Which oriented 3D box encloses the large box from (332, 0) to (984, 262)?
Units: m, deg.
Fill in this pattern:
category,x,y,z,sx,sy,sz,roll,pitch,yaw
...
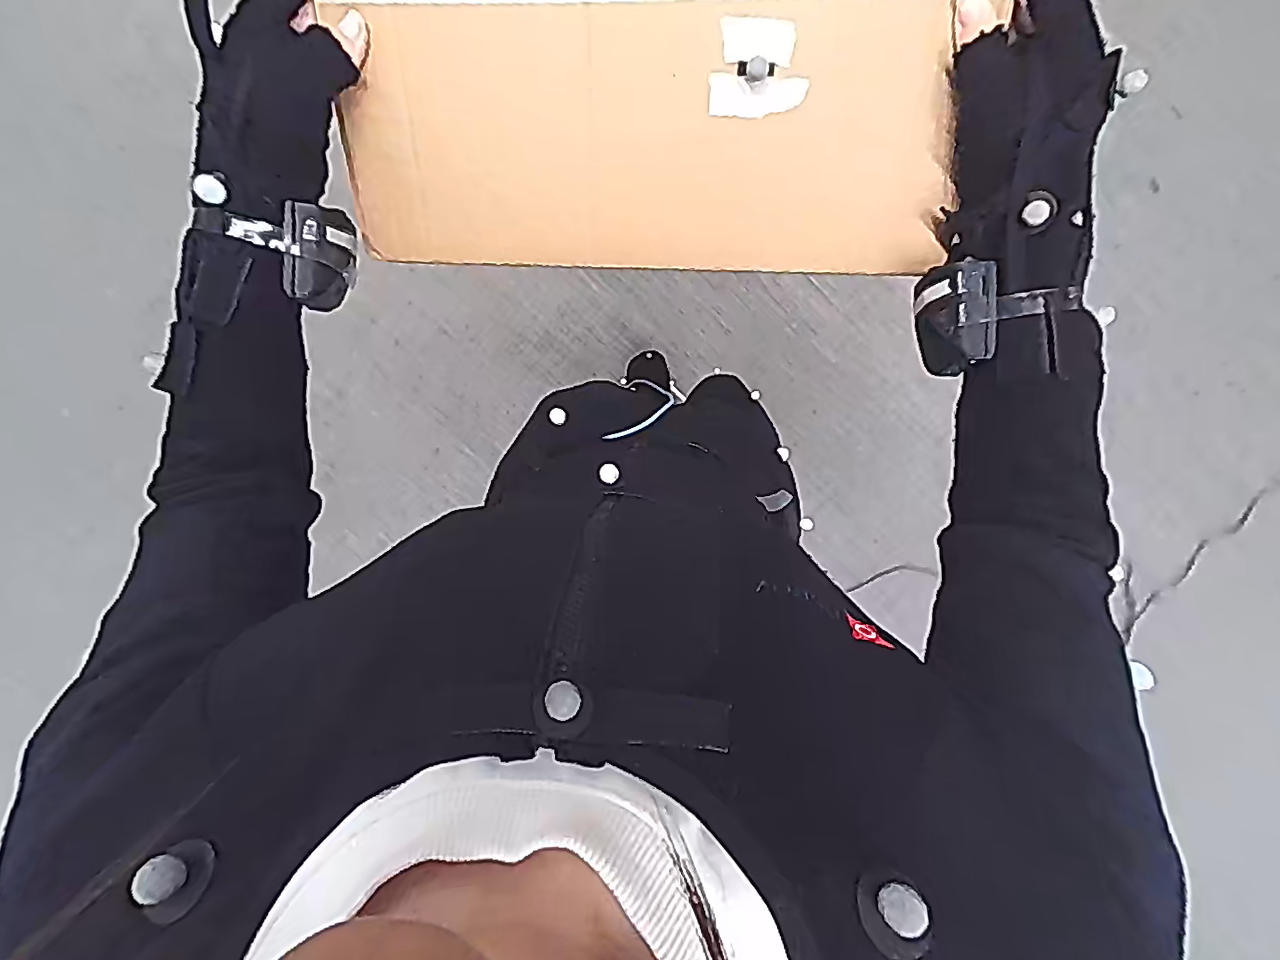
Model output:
category,x,y,z,sx,sy,sz,roll,pitch,yaw
large box,0.014,-0.366,0.455,0.408,0.320,0.320,2,118,4
